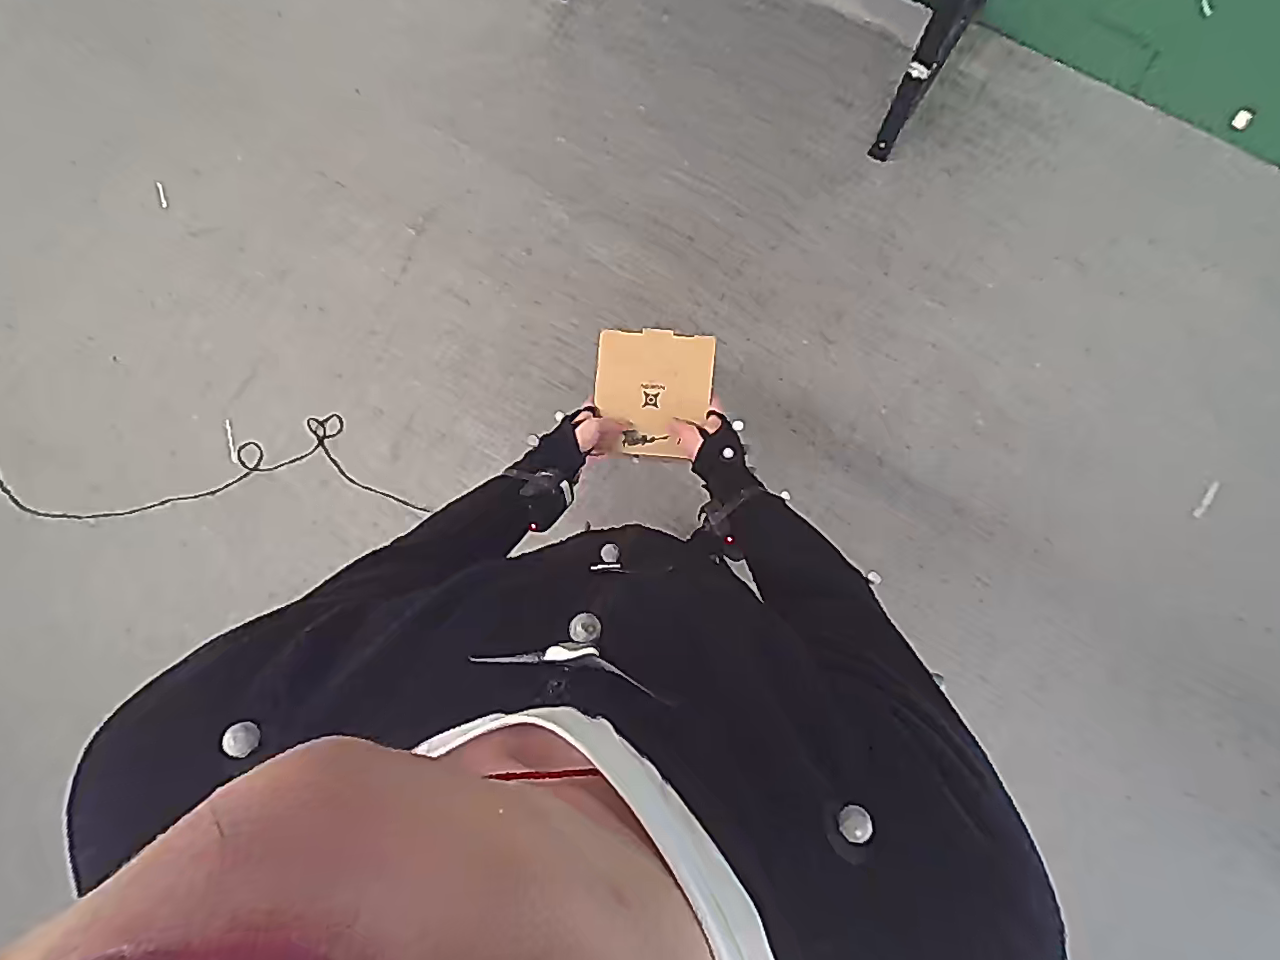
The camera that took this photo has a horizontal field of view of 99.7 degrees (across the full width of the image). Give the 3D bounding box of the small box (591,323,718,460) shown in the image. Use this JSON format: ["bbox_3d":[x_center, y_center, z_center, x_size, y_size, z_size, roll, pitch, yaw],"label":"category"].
[{"bbox_3d":[0.026,-0.129,0.838,0.168,0.176,0.179,5,90,5],"label":"small box"}]
